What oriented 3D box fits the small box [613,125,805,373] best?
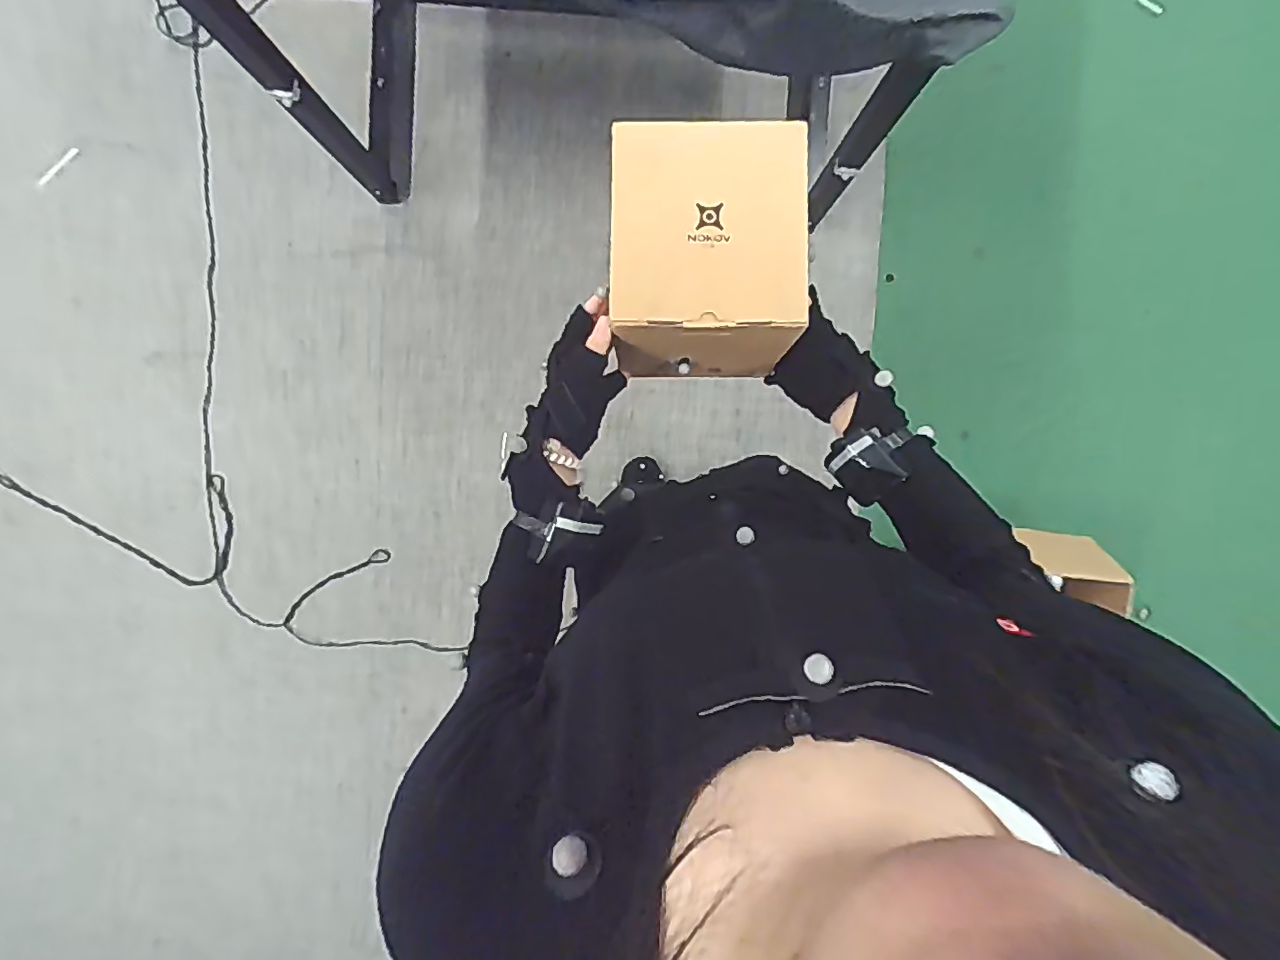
[{"bbox_3d":[0.060,-0.216,0.543,0.168,0.176,0.179,1,88,1],"label":"small box"}]
